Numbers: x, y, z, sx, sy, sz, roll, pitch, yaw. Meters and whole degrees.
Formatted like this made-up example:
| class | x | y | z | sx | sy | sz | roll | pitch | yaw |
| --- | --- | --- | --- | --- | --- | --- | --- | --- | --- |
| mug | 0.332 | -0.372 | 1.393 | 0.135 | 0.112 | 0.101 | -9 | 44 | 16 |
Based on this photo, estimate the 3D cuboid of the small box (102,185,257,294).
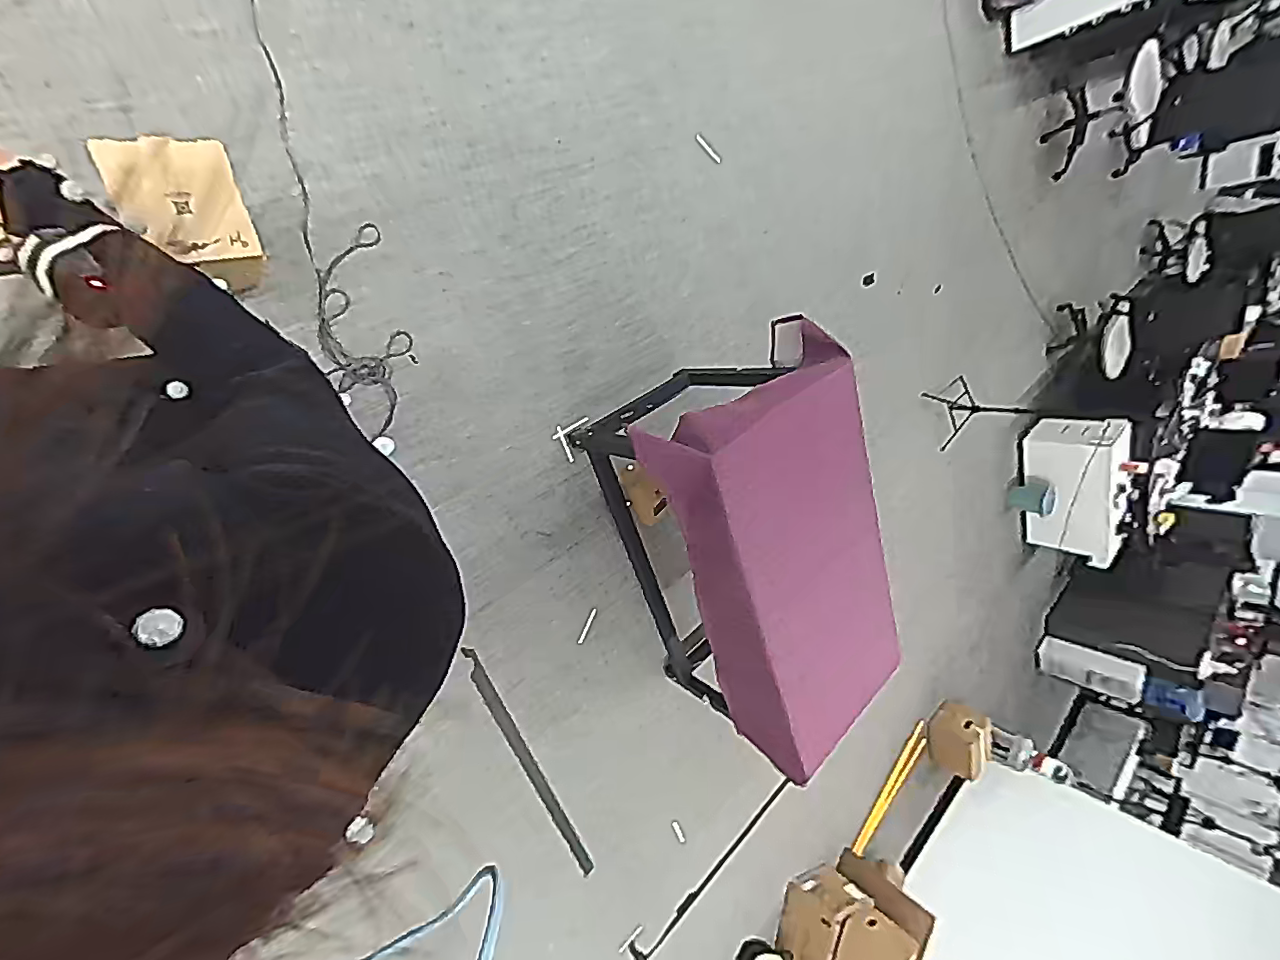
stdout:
| class | x | y | z | sx | sy | sz | roll | pitch | yaw |
| --- | --- | --- | --- | --- | --- | --- | --- | --- | --- |
| small box | -0.857 | -0.467 | 1.034 | 0.179 | 0.176 | 0.168 | -30 | 115 | -29 |

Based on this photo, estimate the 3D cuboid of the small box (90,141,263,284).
| class | x | y | z | sx | sy | sz | roll | pitch | yaw |
| --- | --- | --- | --- | --- | --- | --- | --- | --- | --- |
| small box | -0.761 | -0.440 | 0.904 | 0.168 | 0.176 | 0.179 | -23 | 111 | -32 |

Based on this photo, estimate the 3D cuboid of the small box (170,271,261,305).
| class | x | y | z | sx | sy | sz | roll | pitch | yaw |
| --- | --- | --- | --- | --- | --- | --- | --- | --- | --- |
| small box | -0.955 | -0.492 | 1.161 | 0.168 | 0.176 | 0.179 | -32 | 117 | -28 |

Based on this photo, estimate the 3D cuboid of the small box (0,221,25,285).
| class | x | y | z | sx | sy | sz | roll | pitch | yaw |
| --- | --- | --- | --- | --- | --- | --- | --- | --- | --- |
| small box | -0.703 | -0.266 | 0.473 | 0.168 | 0.176 | 0.179 | -30 | 116 | -38 |
